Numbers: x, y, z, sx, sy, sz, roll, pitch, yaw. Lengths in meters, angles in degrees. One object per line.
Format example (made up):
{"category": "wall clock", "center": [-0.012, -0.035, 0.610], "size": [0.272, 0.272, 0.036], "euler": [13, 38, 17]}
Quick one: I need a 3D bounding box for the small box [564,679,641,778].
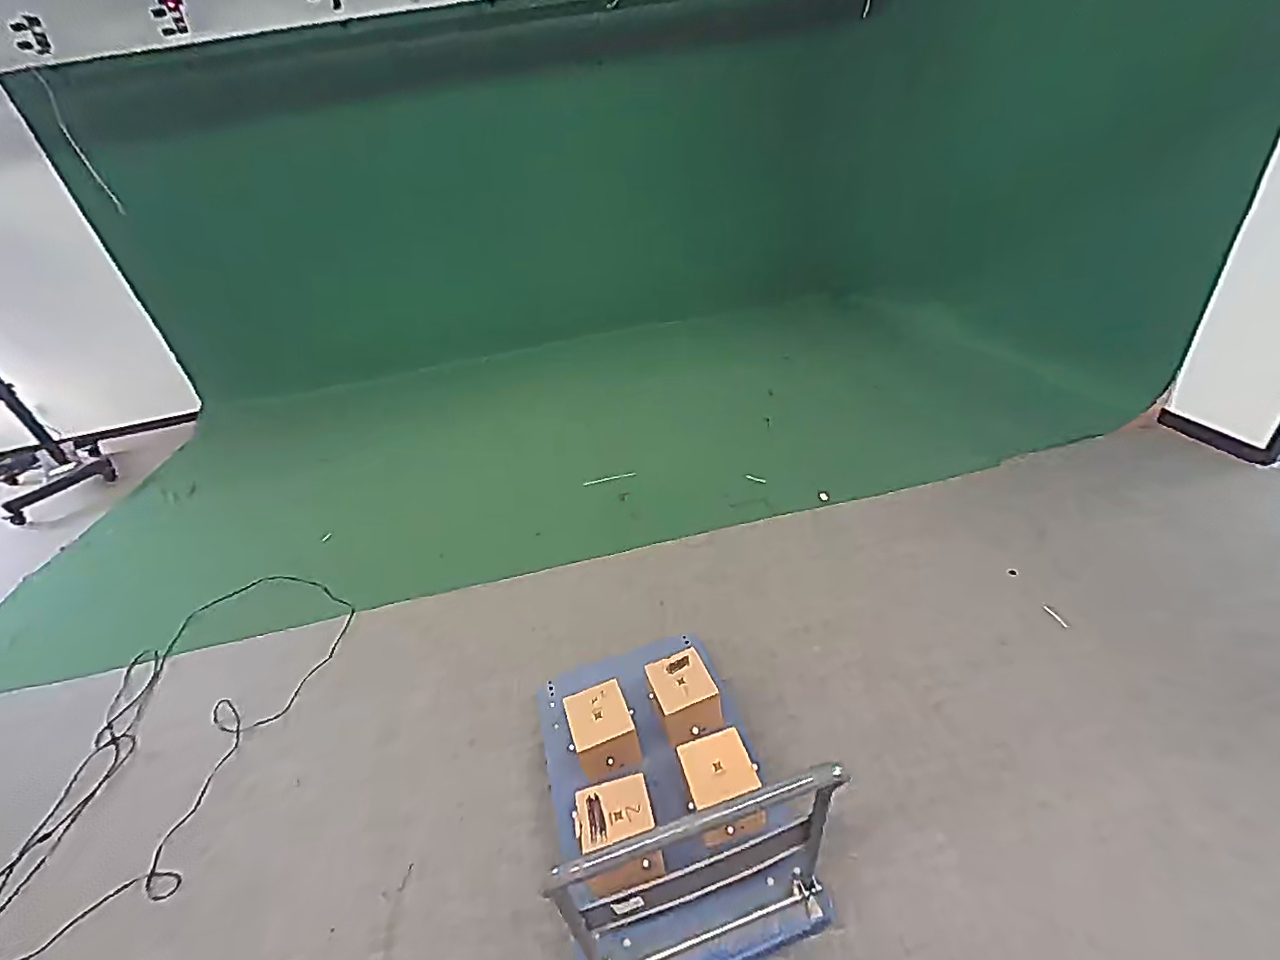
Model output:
{"category": "small box", "center": [-0.104, 0.712, 1.537], "size": [0.168, 0.176, 0.179], "euler": [-17, 35, -12]}

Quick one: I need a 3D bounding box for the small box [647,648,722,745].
{"category": "small box", "center": [0.130, 0.637, 1.592], "size": [0.168, 0.176, 0.179], "euler": [-18, 36, -11]}

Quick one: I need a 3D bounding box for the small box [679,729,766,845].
{"category": "small box", "center": [0.206, 0.776, 1.372], "size": [0.168, 0.176, 0.179], "euler": [-15, 35, -9]}
